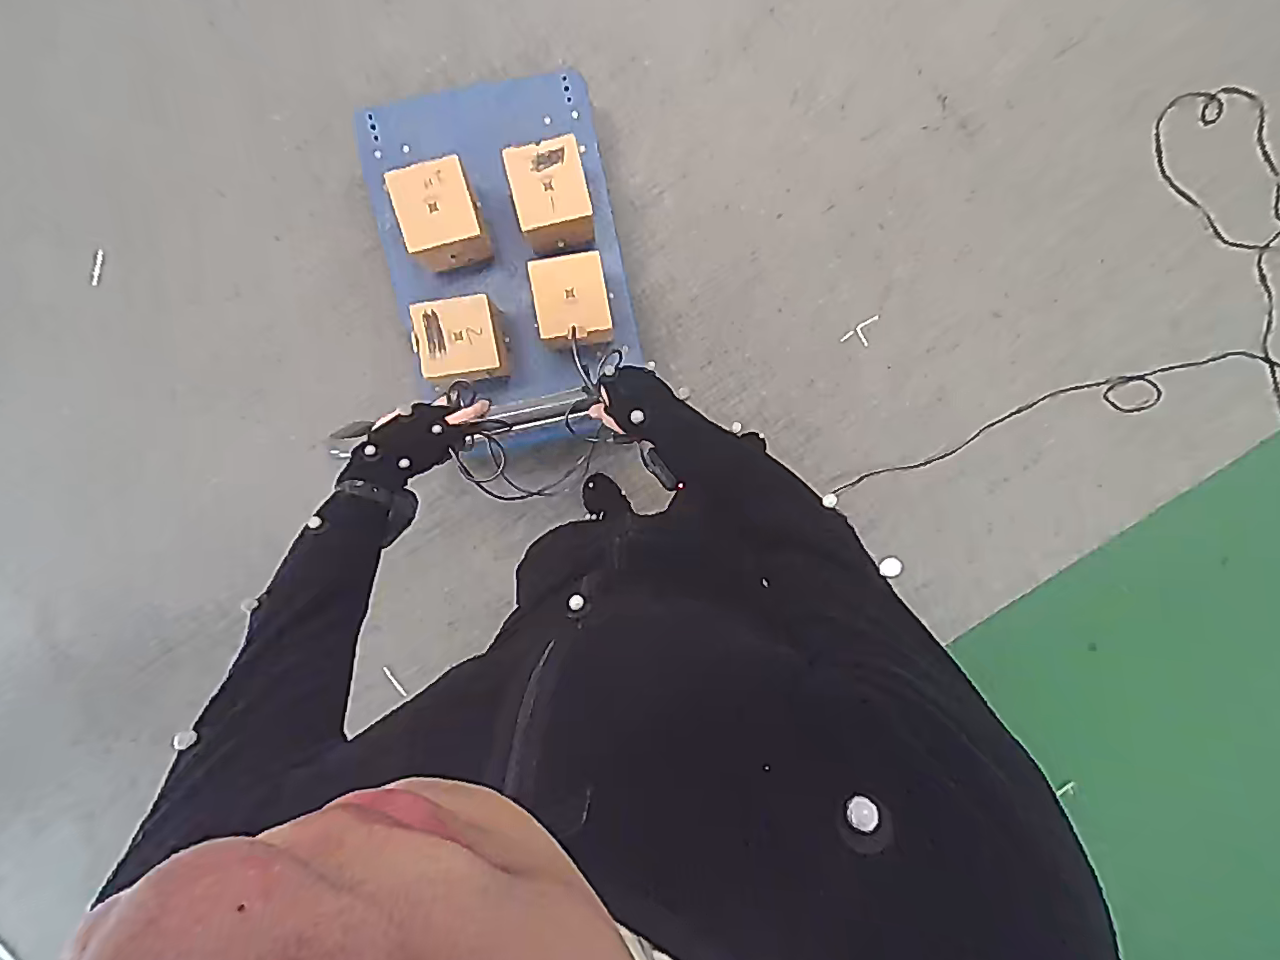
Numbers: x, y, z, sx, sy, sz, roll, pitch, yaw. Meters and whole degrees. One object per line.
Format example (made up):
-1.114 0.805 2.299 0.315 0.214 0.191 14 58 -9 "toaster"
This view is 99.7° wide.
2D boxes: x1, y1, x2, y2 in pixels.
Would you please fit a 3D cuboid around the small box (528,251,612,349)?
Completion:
-0.163 -0.423 1.293 0.168 0.176 0.179 -11 98 -2 "small box"

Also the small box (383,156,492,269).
-0.458 -0.607 1.256 0.168 0.176 0.179 -16 97 -1 "small box"

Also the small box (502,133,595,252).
-0.206 -0.660 1.261 0.168 0.176 0.179 -15 97 0 "small box"
